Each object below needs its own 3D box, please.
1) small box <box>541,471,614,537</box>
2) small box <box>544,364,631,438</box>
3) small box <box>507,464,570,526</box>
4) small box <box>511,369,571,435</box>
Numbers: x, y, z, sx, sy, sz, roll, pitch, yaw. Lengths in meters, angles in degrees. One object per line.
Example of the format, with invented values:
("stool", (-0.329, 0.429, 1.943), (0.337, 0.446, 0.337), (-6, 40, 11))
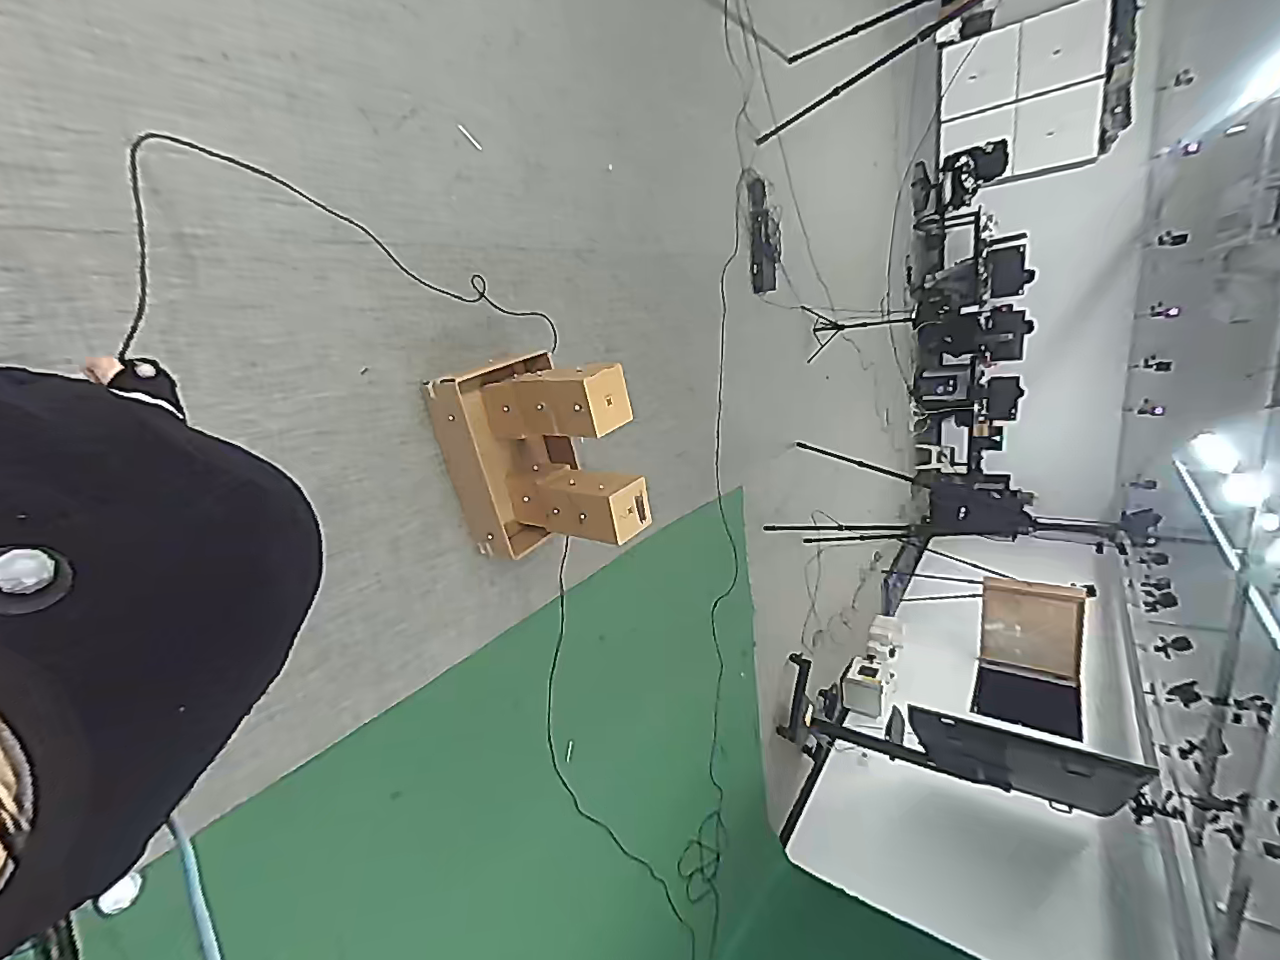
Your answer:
("small box", (-0.215, 0.075, 1.819), (0.179, 0.176, 0.168), (-31, 118, -47))
("small box", (-0.156, -0.235, 1.601), (0.168, 0.176, 0.179), (-35, 120, -43))
("small box", (-0.347, 0.051, 1.916), (0.168, 0.176, 0.179), (-31, 116, -47))
("small box", (-0.283, -0.247, 1.701), (0.168, 0.176, 0.179), (-30, 118, -46))
